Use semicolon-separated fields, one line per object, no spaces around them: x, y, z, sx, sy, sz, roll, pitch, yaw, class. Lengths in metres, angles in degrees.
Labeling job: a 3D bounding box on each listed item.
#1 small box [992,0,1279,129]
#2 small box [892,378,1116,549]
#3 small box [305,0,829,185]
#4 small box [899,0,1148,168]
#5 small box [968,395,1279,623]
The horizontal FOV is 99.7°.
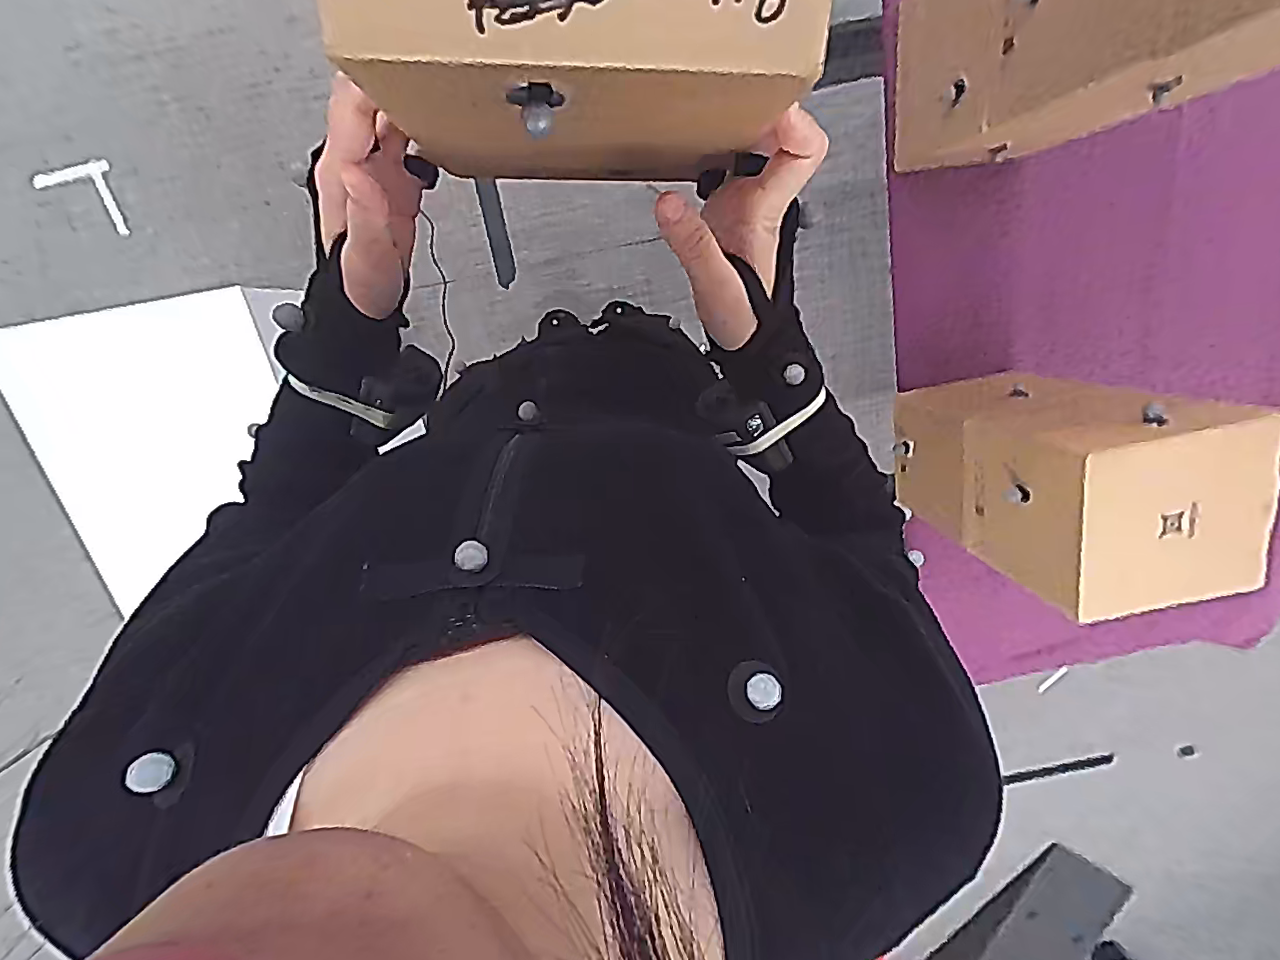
0.412;-0.391;0.410;0.179;0.176;0.168;-8;108;0;small box
0.455;-0.032;0.701;0.179;0.176;0.168;-10;107;1;small box
-0.028;-0.241;0.225;0.168;0.176;0.179;-2;108;-5;small box
0.393;-0.442;0.565;0.168;0.176;0.179;-7;108;-2;small box
0.461;0.017;0.546;0.179;0.176;0.168;-12;107;-1;small box
